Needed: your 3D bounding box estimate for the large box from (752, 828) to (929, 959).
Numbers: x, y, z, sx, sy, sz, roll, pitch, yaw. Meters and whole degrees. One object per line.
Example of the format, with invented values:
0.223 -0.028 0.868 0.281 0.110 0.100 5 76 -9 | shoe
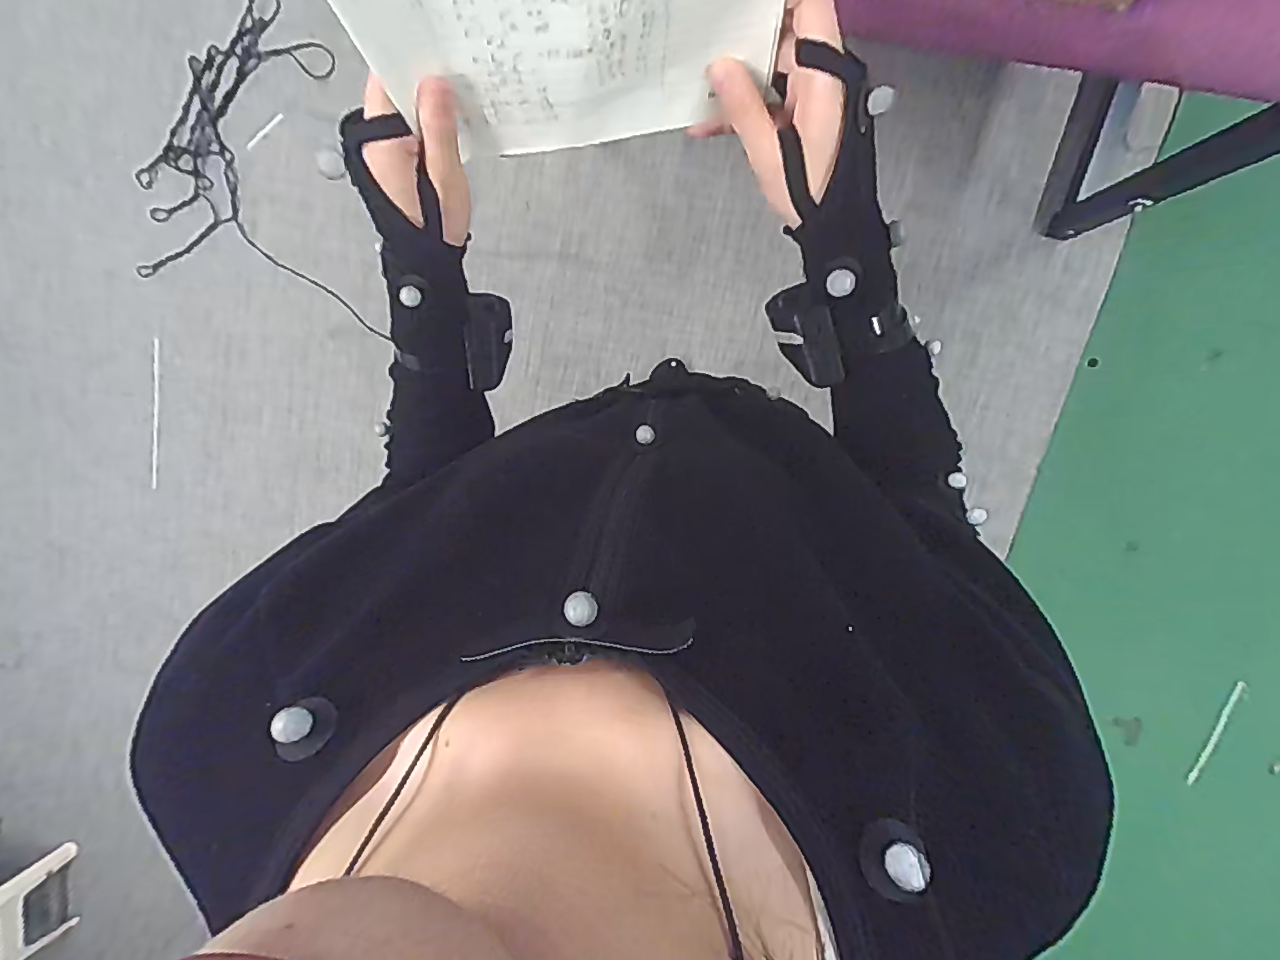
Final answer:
0.535 1.242 1.525 0.408 0.320 0.320 0 101 6 | large box
